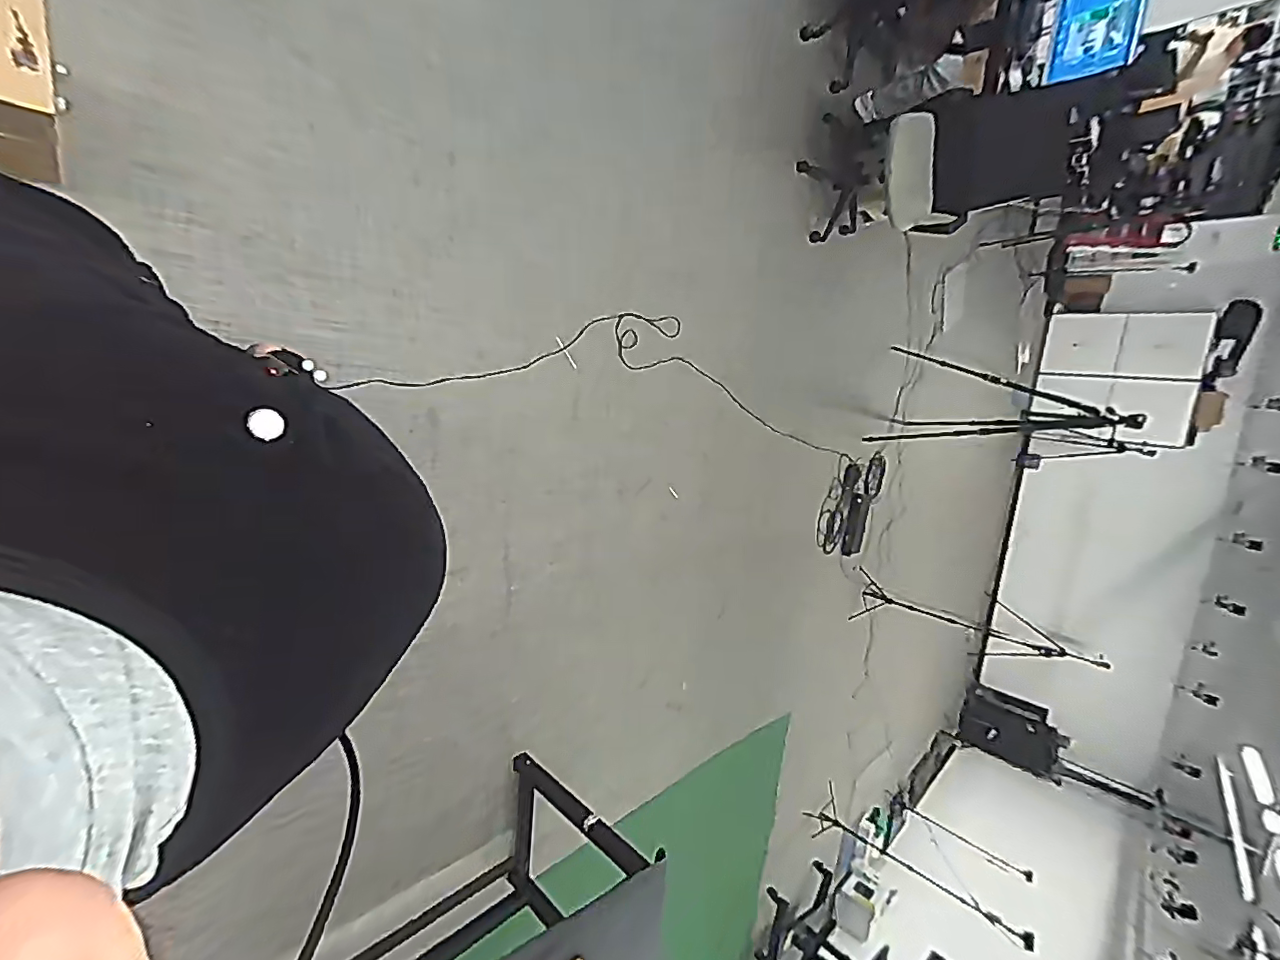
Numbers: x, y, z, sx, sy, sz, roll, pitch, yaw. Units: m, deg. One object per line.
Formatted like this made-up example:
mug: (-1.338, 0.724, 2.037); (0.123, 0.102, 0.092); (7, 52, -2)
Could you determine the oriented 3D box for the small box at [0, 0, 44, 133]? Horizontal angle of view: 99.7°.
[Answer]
small box: (-0.883, -0.564, 0.671); (0.179, 0.176, 0.168); (-6, 105, -45)
